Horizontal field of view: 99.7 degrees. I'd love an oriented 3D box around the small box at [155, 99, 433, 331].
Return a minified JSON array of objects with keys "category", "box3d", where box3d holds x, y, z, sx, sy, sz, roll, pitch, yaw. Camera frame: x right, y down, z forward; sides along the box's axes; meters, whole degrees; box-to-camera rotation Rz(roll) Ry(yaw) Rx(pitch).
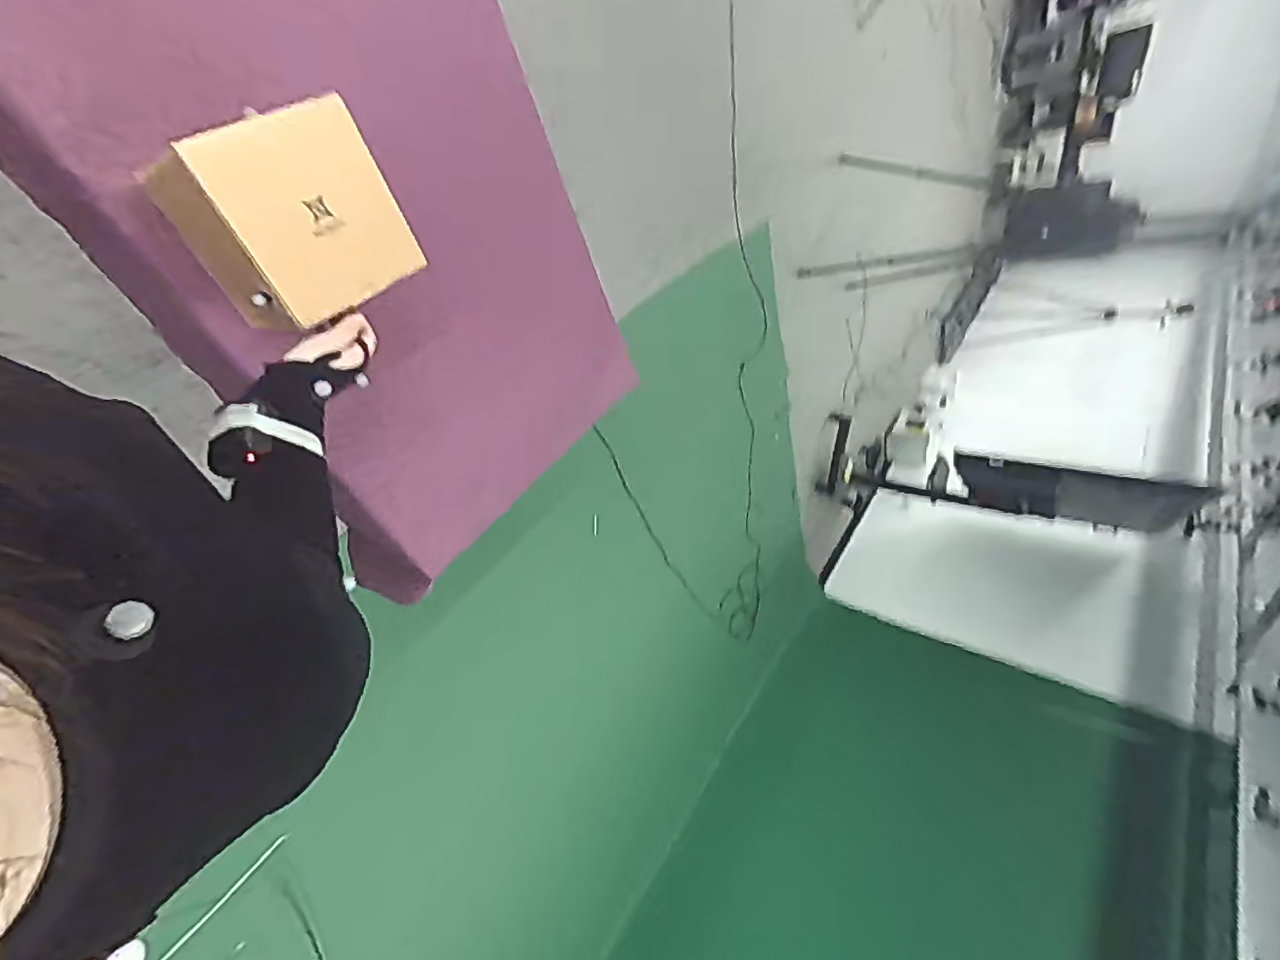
[{"category":"small box","box3d":[-0.378,-0.284,0.600,0.168,0.176,0.179,-48,136,-30]}]
